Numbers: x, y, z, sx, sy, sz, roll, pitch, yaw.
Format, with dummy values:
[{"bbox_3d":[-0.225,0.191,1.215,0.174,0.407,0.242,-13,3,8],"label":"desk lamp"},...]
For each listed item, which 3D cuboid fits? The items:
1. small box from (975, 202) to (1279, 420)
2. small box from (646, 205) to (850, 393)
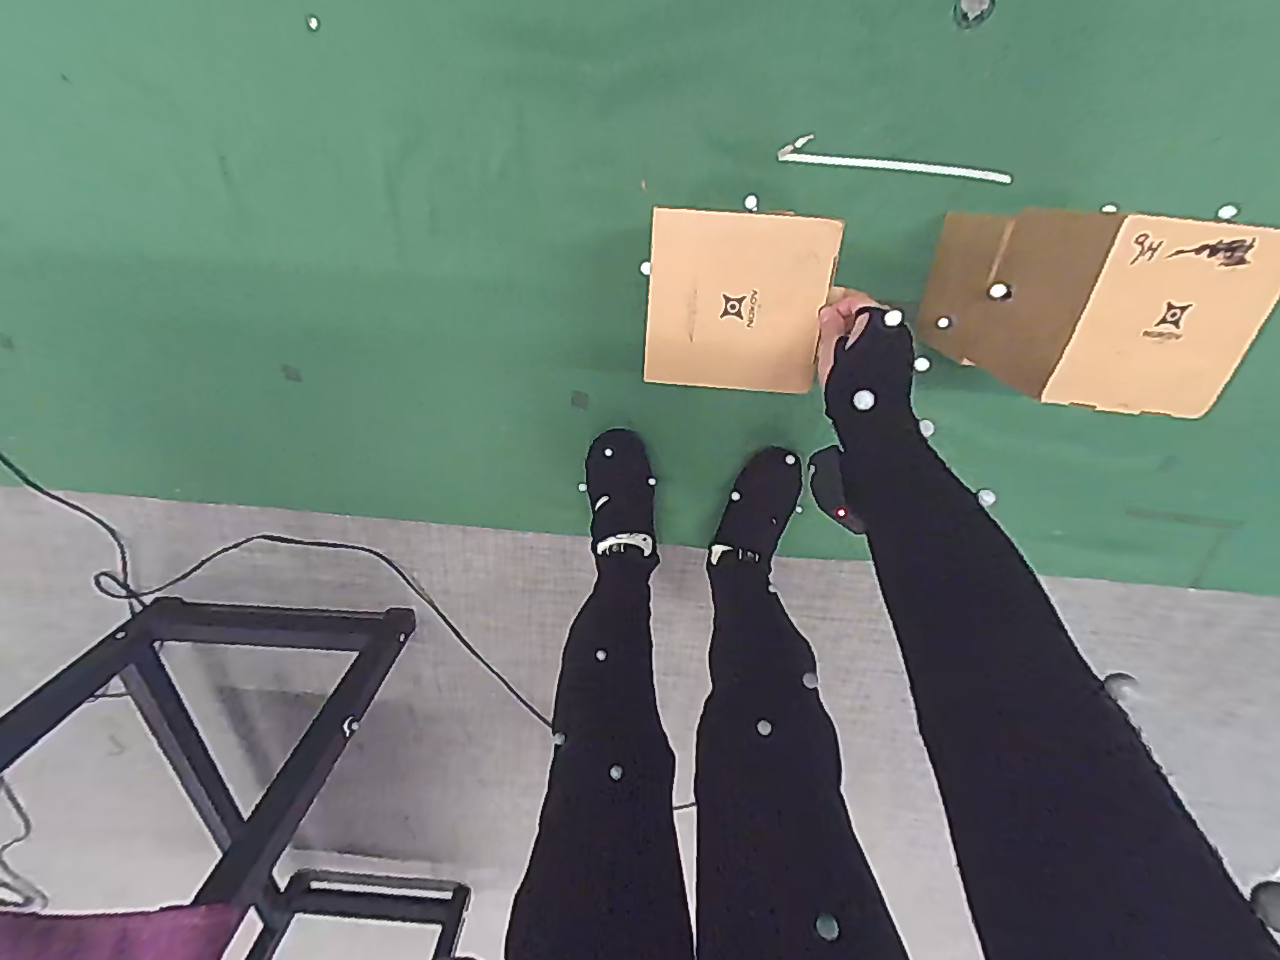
[{"bbox_3d":[0.495,-0.184,0.572,0.168,0.176,0.179,6,120,0],"label":"small box"},{"bbox_3d":[0.103,-0.204,0.592,0.179,0.176,0.168,5,117,2],"label":"small box"}]
